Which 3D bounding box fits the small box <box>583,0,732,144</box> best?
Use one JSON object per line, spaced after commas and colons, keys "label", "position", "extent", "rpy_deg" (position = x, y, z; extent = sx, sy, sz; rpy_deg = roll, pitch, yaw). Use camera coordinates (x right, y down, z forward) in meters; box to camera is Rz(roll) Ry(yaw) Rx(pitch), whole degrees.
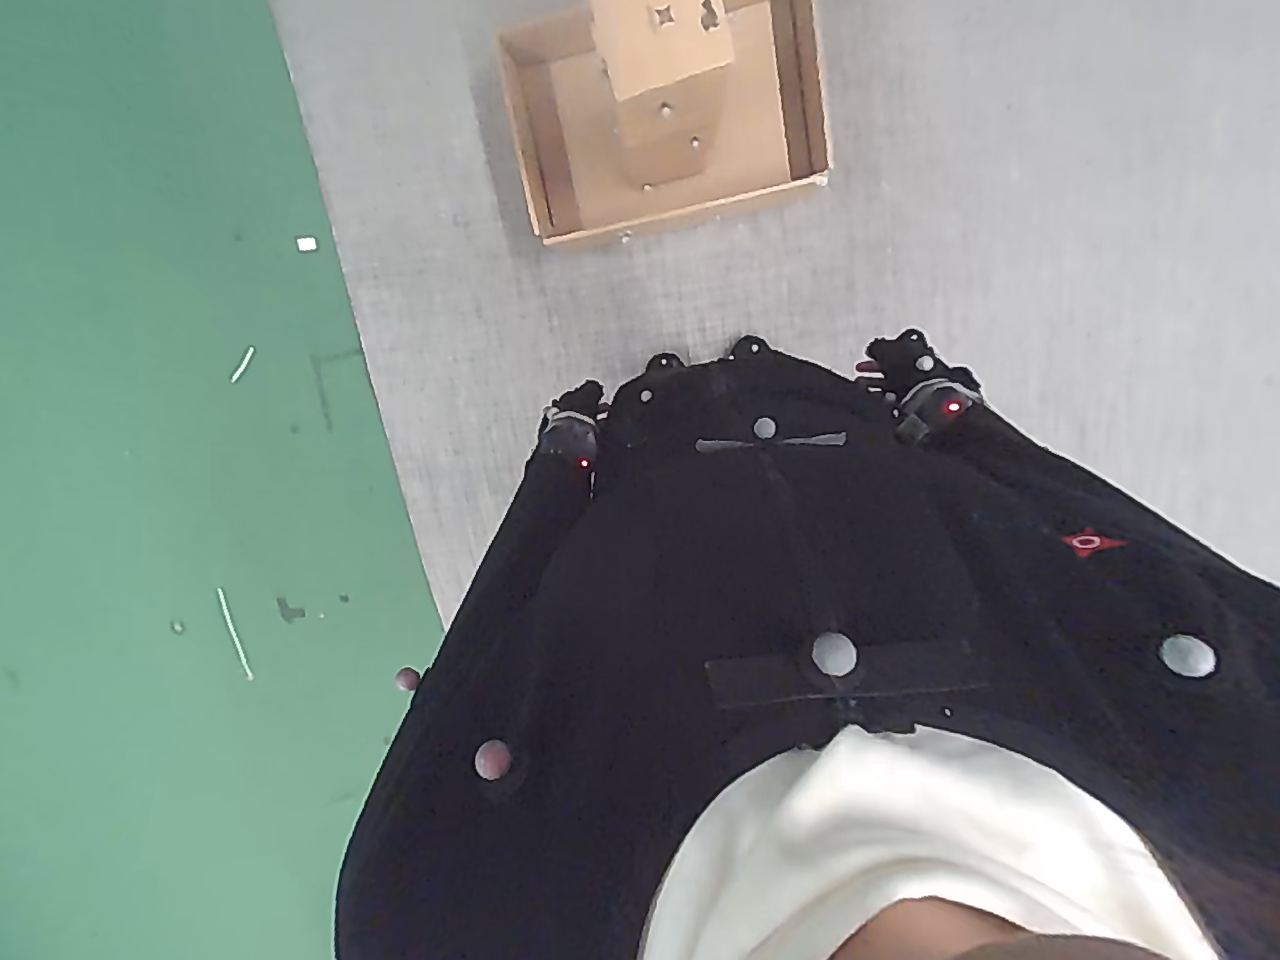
{"label": "small box", "position": [0.028, -0.649, 0.818], "extent": [0.179, 0.176, 0.168], "rpy_deg": [-17, 100, 7]}

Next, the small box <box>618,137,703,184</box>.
{"label": "small box", "position": [0.038, -0.740, 1.128], "extent": [0.168, 0.176, 0.179], "rpy_deg": [-10, 103, 6]}
